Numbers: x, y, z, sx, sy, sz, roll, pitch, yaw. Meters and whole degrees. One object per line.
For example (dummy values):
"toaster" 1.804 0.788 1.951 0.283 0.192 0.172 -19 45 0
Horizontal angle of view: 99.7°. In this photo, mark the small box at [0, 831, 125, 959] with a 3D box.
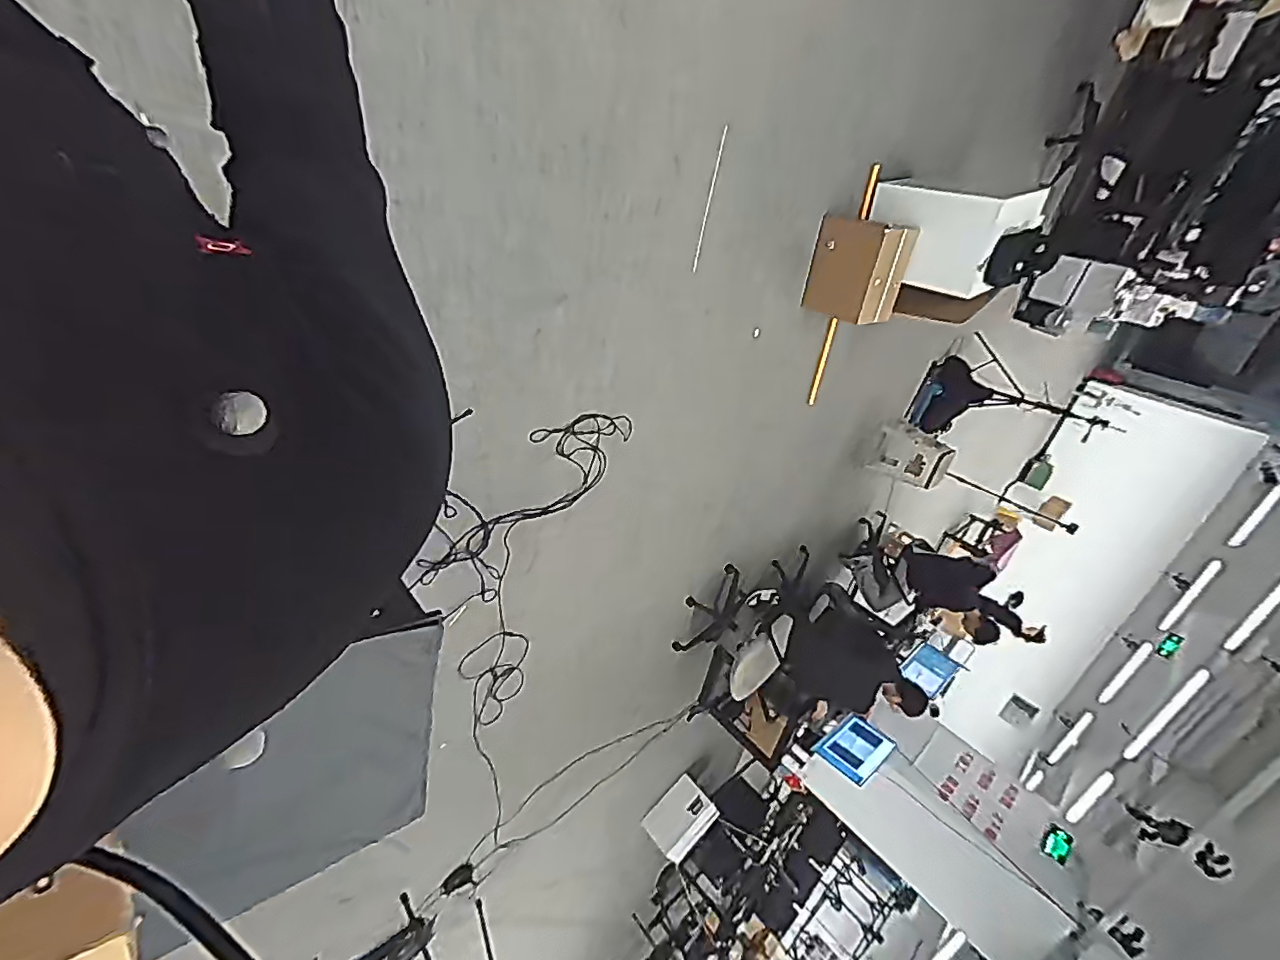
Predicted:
"small box" -0.774 0.602 0.685 0.168 0.176 0.179 -9 123 -44
